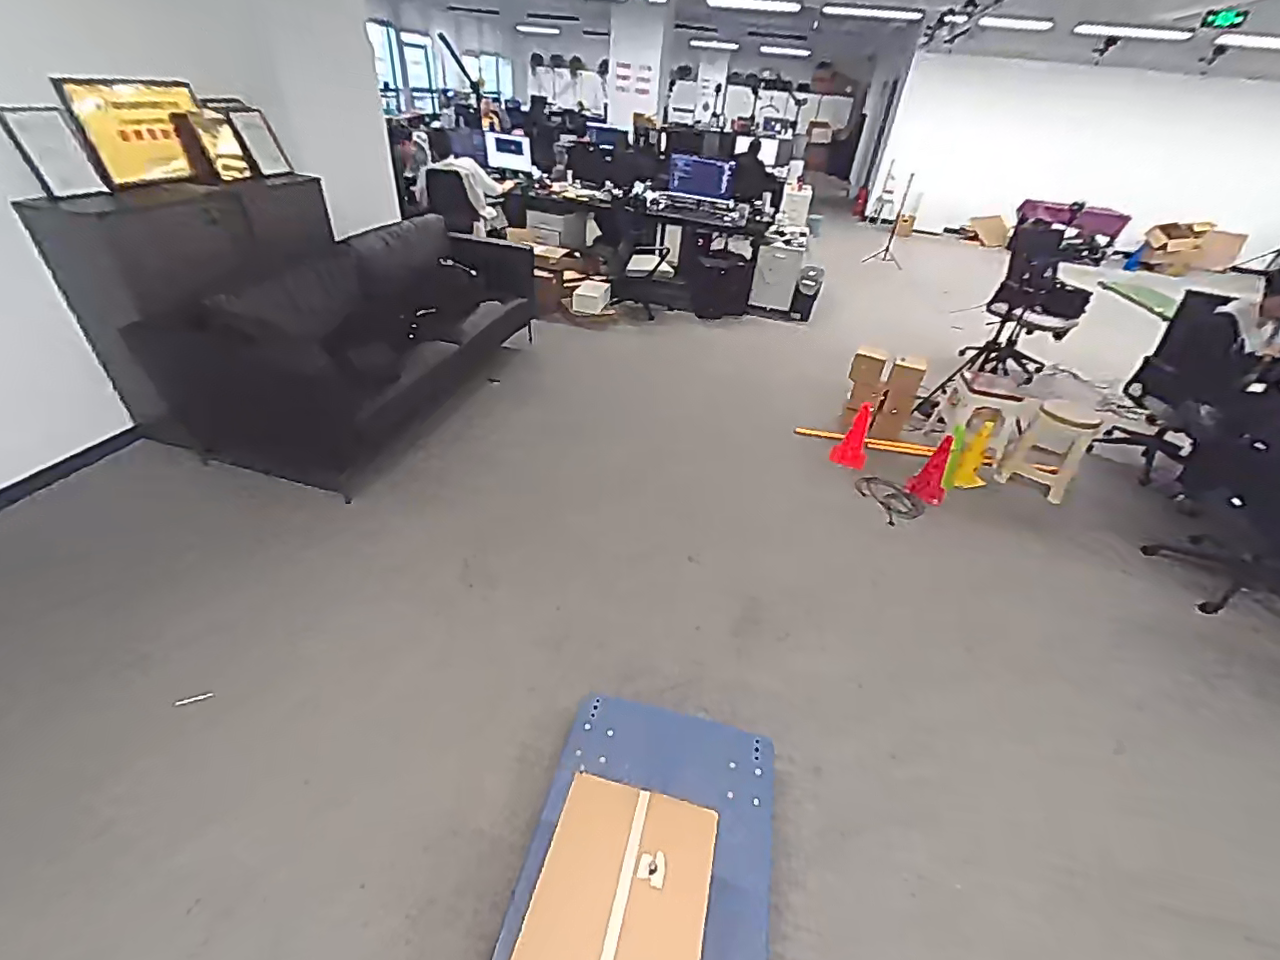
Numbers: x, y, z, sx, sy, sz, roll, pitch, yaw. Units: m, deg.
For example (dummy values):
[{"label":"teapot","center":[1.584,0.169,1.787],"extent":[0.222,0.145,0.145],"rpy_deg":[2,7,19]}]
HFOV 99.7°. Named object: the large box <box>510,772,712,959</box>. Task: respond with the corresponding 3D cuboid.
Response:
[{"label":"large box","center":[-0.050,0.888,1.071],"extent":[0.320,0.320,0.408],"rpy_deg":[12,35,8]}]
